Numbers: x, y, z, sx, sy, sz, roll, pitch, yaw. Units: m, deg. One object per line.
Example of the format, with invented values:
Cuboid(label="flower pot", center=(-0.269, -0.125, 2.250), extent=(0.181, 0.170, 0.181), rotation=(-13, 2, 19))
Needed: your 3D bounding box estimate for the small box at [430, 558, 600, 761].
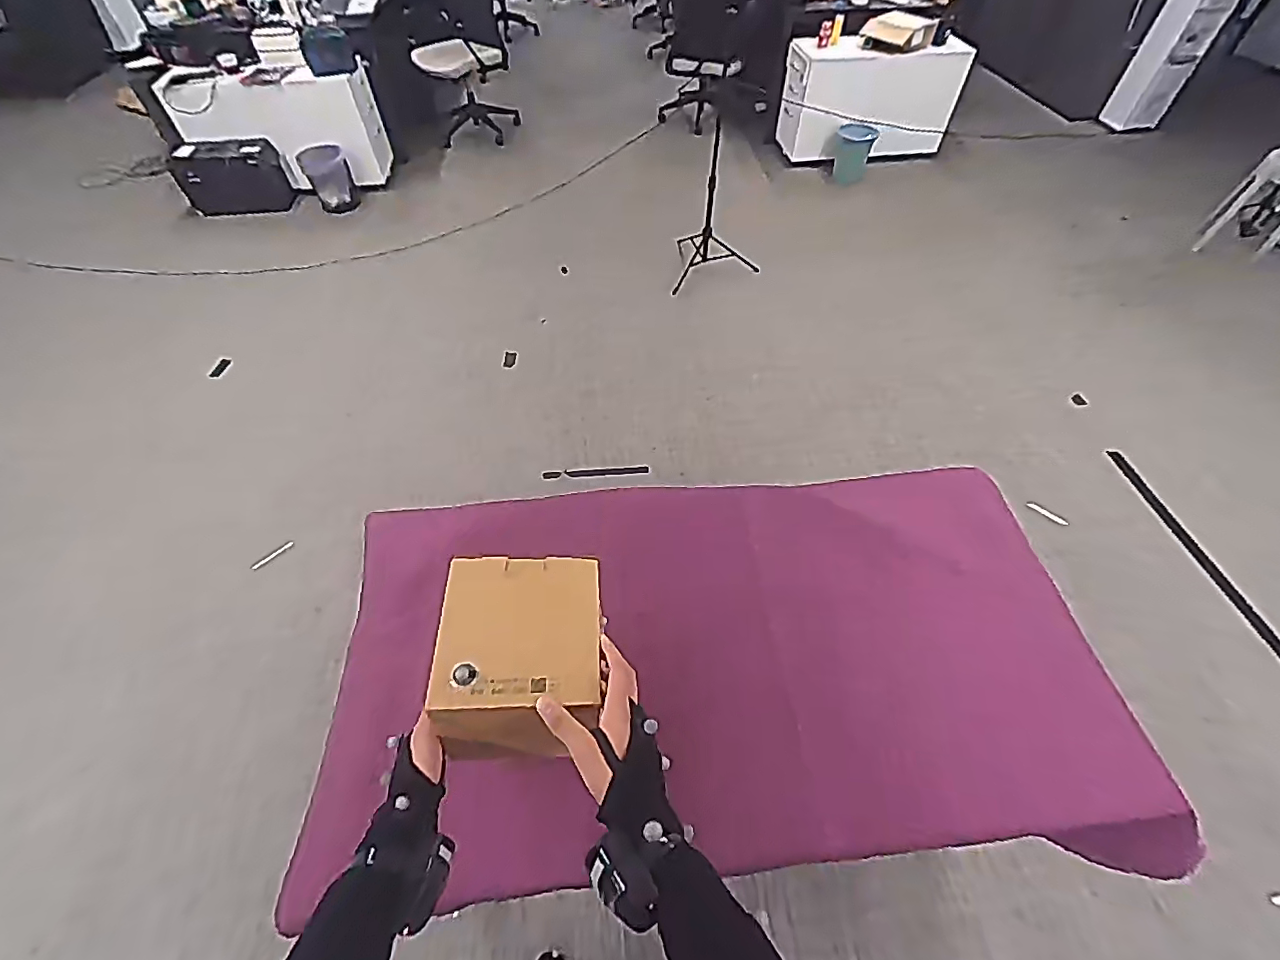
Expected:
Cuboid(label="small box", center=(-0.133, 0.207, 0.622), extent=(0.168, 0.179, 0.176), rotation=(2, 48, -7))
